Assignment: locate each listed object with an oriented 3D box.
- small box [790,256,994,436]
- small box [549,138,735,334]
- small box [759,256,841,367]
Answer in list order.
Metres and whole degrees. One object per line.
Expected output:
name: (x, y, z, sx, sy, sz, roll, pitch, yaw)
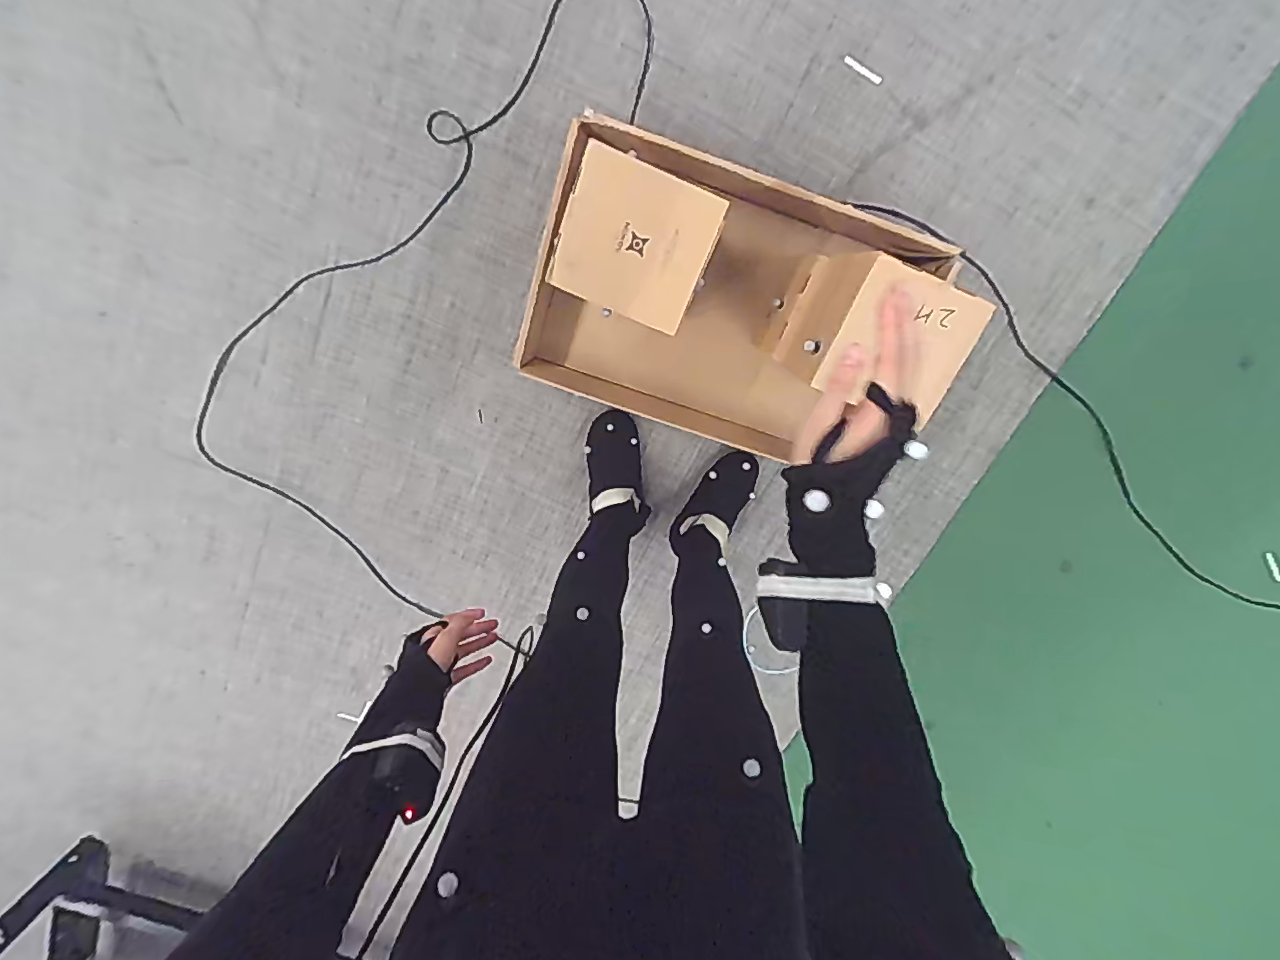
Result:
small box: (0.327, -0.189, 0.750, 0.168, 0.176, 0.179, 22, 109, -7)
small box: (0.001, -0.311, 0.716, 0.179, 0.176, 0.168, 22, 110, -7)
small box: (0.319, -0.252, 0.902, 0.179, 0.176, 0.168, 23, 109, -6)
